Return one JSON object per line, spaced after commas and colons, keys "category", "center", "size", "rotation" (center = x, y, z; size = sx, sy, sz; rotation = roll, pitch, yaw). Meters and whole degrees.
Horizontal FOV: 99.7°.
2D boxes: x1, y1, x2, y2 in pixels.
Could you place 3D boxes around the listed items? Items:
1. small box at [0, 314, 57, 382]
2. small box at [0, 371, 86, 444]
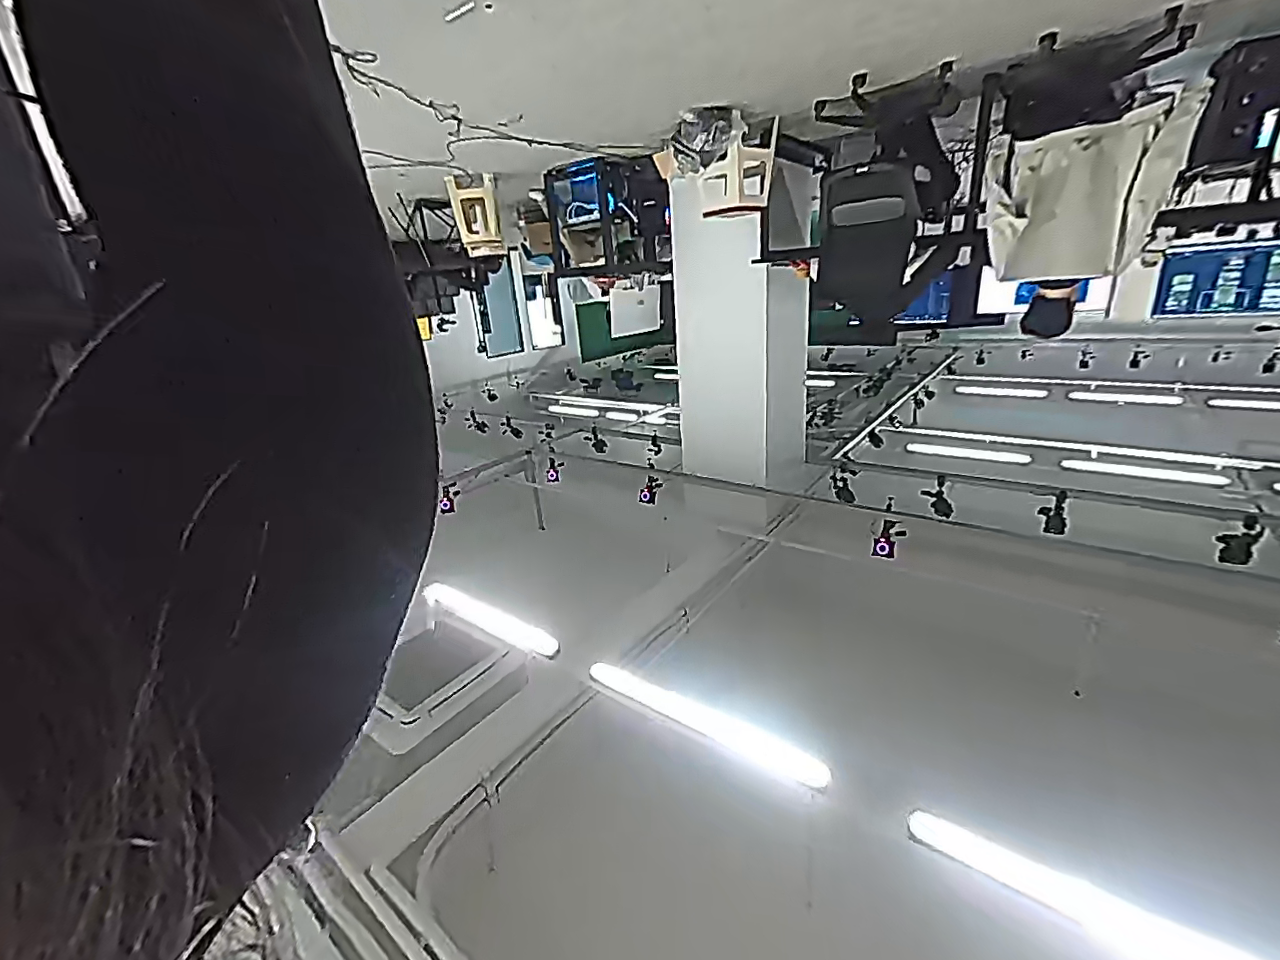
{"category": "small box", "center": [-1.779, -0.367, 1.501], "size": [0.179, 0.176, 0.168], "rotation": [12, -153, 38]}
{"category": "small box", "center": [-1.766, -0.217, 1.561], "size": [0.168, 0.176, 0.179], "rotation": [15, -150, 38]}
